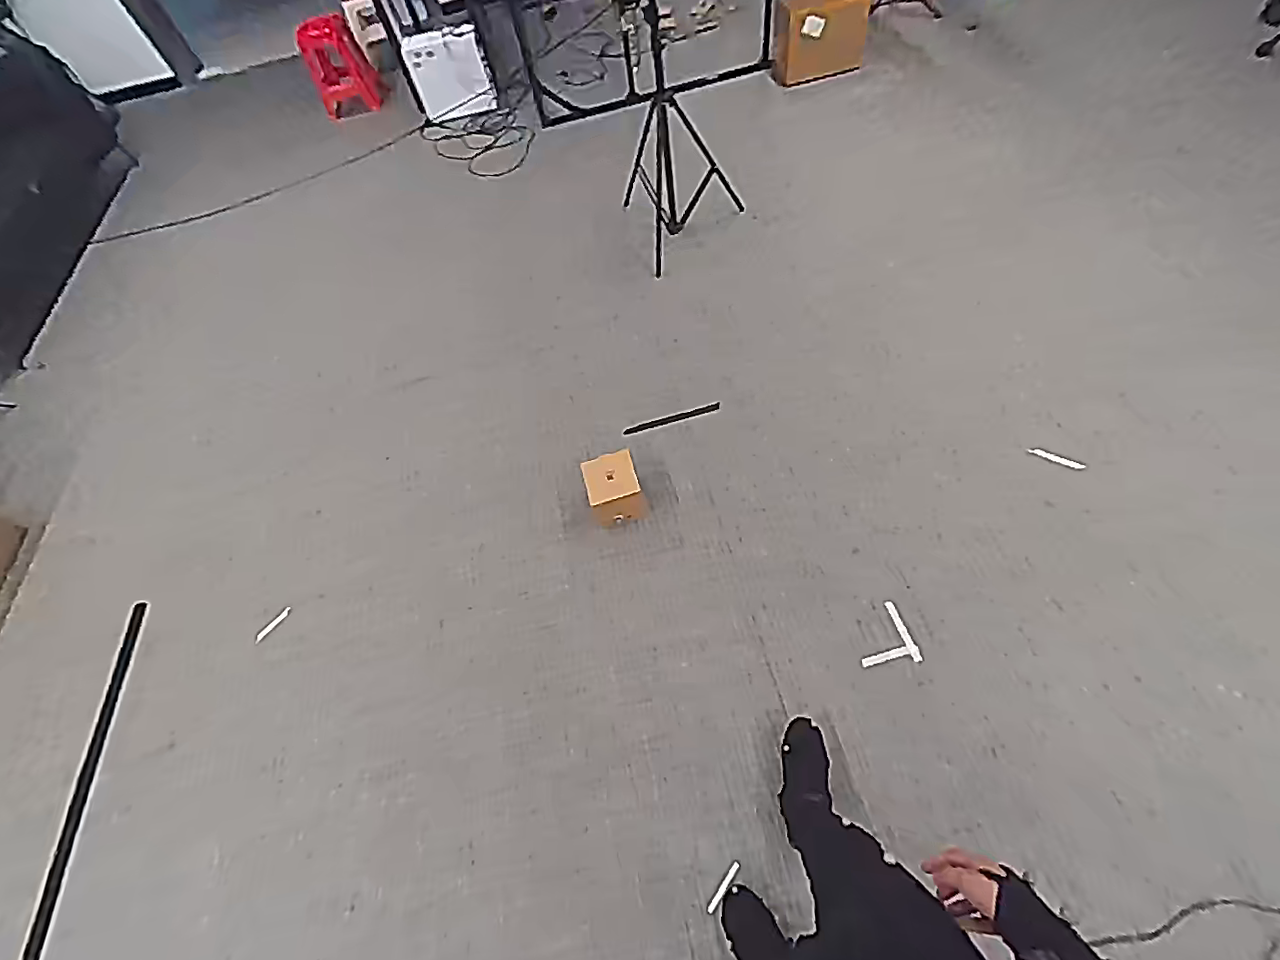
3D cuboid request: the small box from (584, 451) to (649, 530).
[{"bbox_3d":[-0.076,0.037,1.792,0.168,0.176,0.179,-17,58,0],"label":"small box"}]
